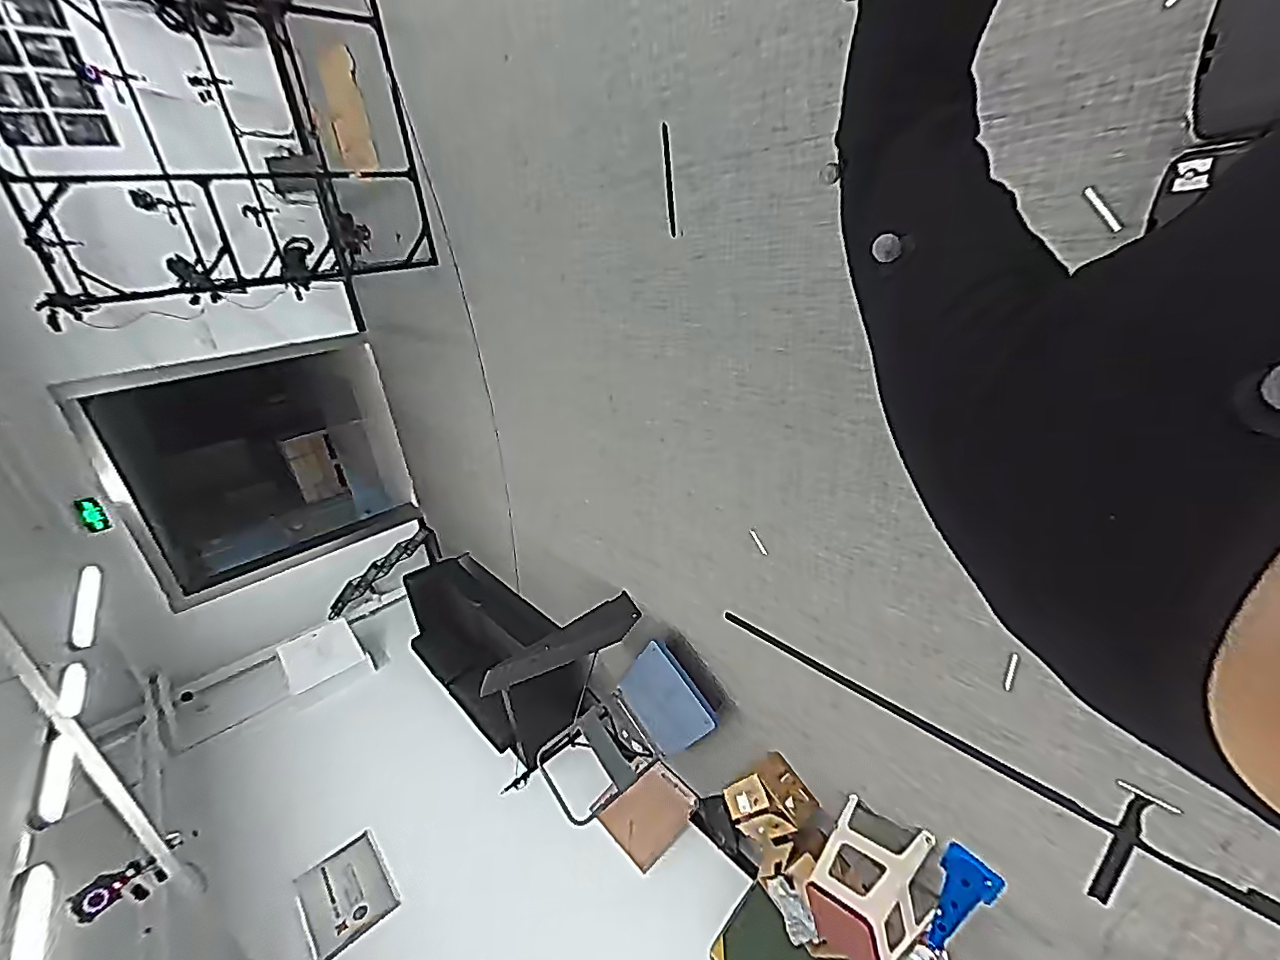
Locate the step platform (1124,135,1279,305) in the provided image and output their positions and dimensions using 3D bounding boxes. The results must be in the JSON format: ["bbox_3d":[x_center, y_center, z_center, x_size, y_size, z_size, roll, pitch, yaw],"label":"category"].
[{"bbox_3d":[1.257,-0.444,0.889,0.684,0.204,0.286,19,124,48],"label":"step platform"}]
